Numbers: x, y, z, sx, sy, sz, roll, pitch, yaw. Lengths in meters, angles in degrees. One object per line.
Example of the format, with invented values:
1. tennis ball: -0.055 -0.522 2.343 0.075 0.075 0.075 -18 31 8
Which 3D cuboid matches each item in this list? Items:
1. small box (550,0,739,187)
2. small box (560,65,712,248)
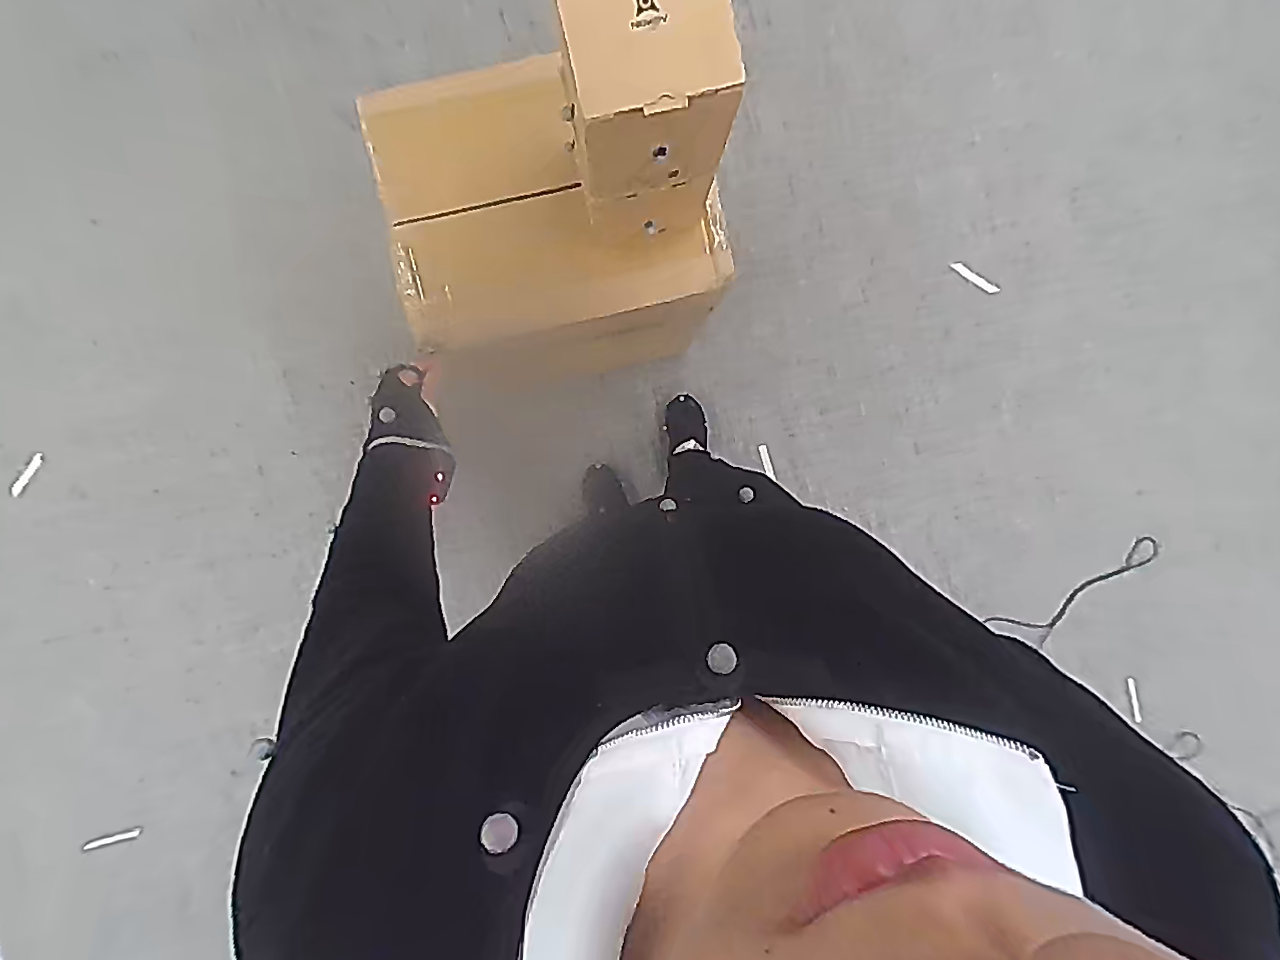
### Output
1. small box: 0.001 -0.455 0.602 0.168 0.176 0.179 -13 95 -1
2. small box: -0.008 -0.460 0.766 0.168 0.176 0.179 -14 94 -1
